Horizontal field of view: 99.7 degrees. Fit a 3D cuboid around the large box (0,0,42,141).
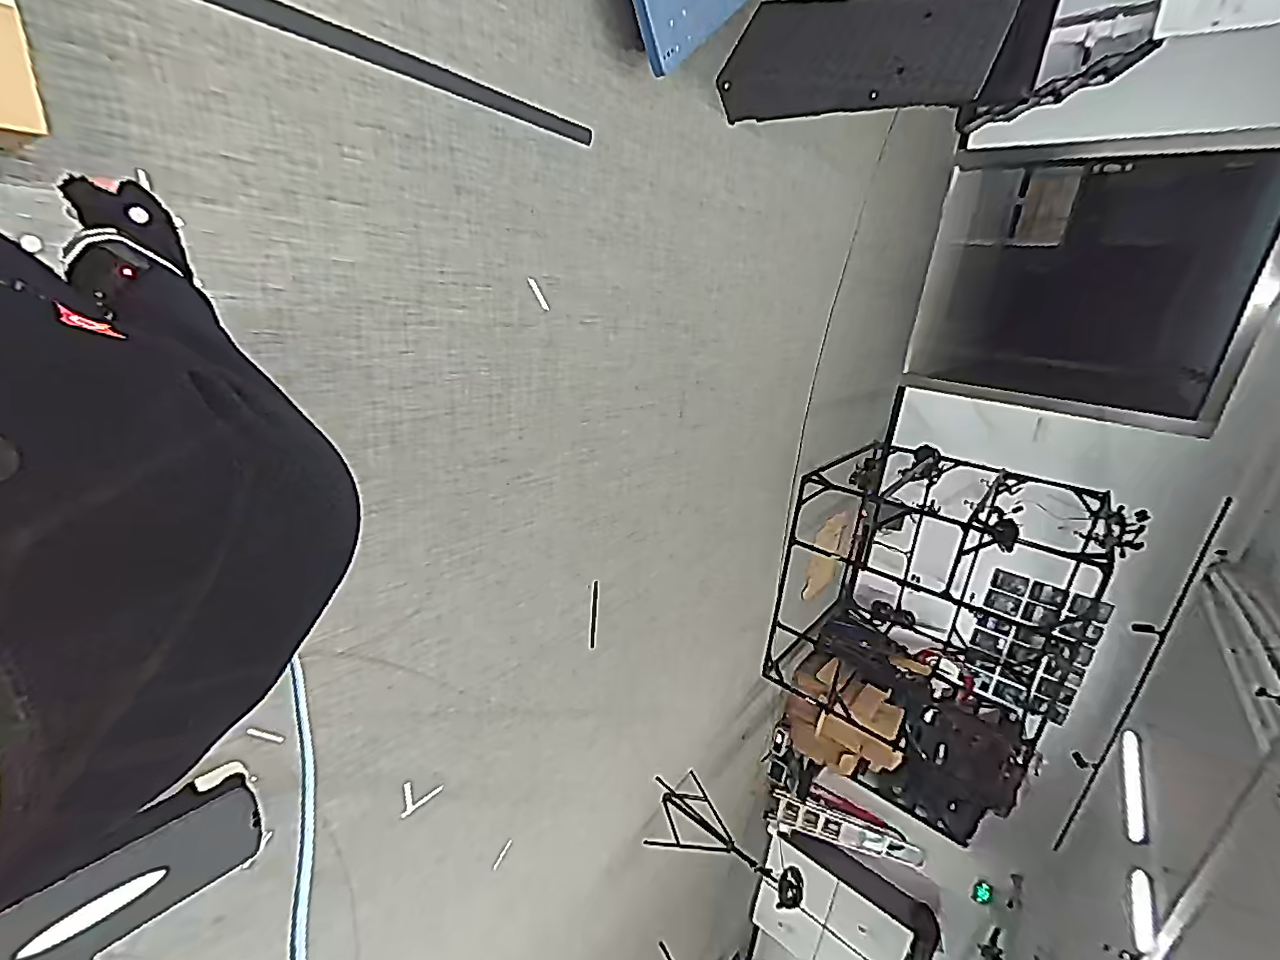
[{"bbox_3d":[-1.070,-0.632,0.641,0.408,0.320,0.320,-21,123,-50],"label":"large box"}]
